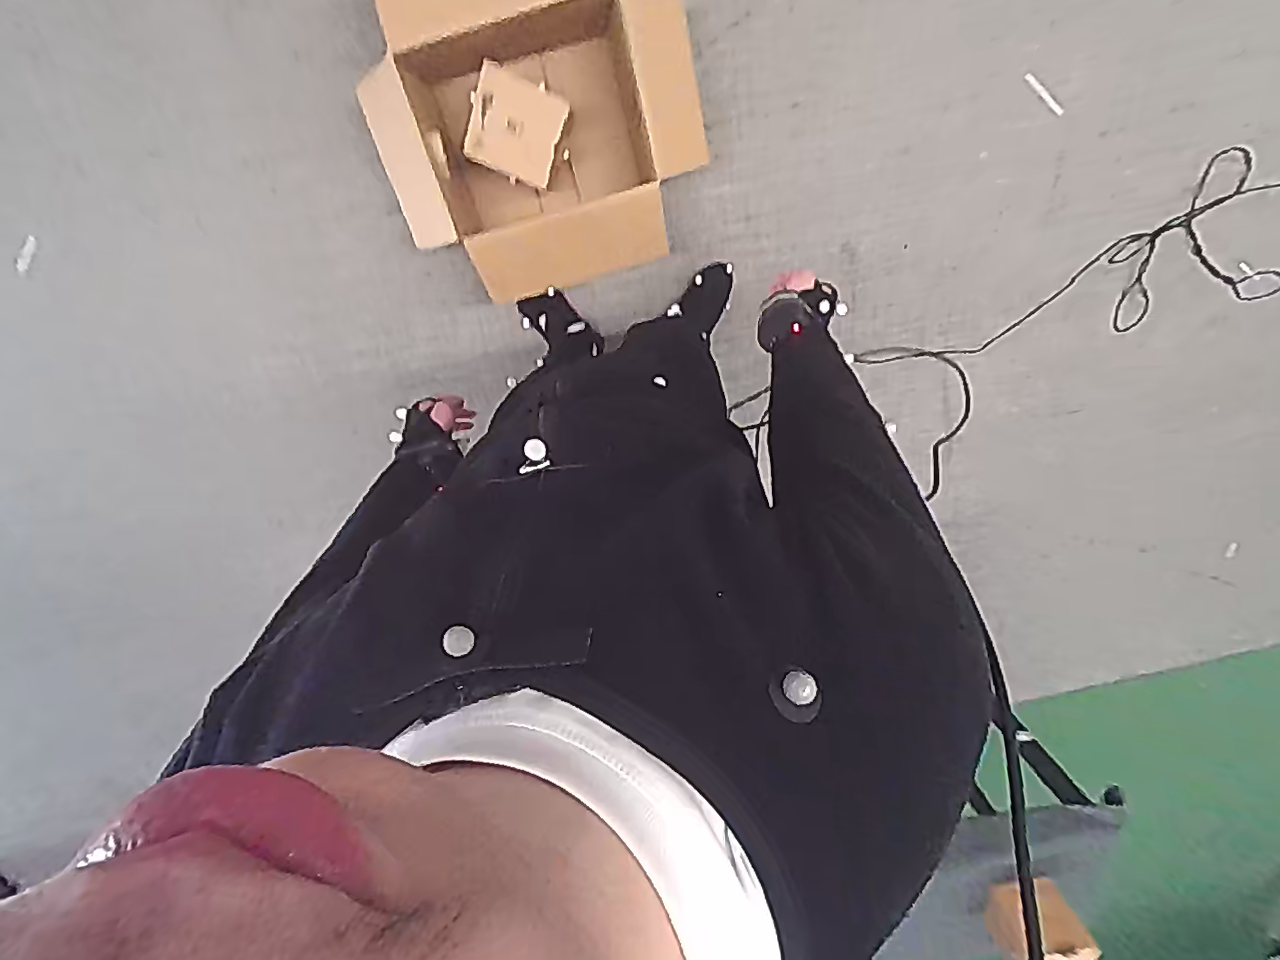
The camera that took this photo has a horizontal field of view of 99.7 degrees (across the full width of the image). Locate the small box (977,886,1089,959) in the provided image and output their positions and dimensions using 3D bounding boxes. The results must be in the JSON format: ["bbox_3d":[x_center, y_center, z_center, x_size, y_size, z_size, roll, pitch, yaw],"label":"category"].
[{"bbox_3d":[1.047,1.228,1.457,0.168,0.176,0.179,-9,117,-1],"label":"small box"}]
